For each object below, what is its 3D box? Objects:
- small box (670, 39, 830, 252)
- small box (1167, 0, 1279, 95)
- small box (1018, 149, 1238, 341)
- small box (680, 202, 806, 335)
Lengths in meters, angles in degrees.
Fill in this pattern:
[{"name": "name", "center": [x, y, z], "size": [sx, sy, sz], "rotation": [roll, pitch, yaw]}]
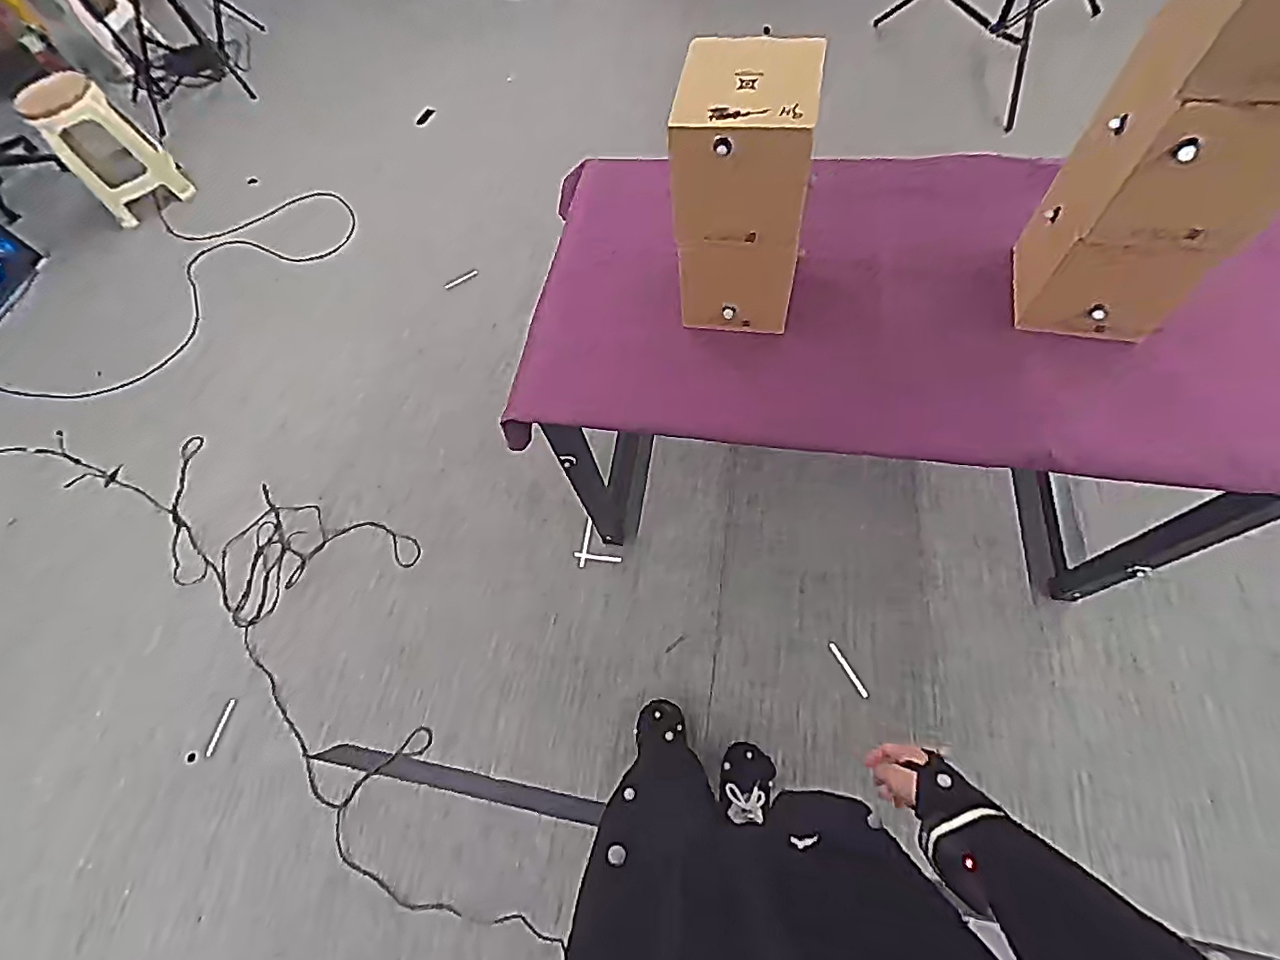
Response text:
[{"name": "small box", "center": [0.138, -0.425, 0.695], "size": [0.168, 0.176, 0.179], "rotation": [8, 65, 12]}, {"name": "small box", "center": [0.613, -0.462, 0.465], "size": [0.168, 0.176, 0.179], "rotation": [13, 66, 13]}, {"name": "small box", "center": [0.659, -0.326, 0.758], "size": [0.168, 0.176, 0.179], "rotation": [11, 66, 14]}, {"name": "small box", "center": [0.159, -0.354, 0.842], "size": [0.168, 0.176, 0.179], "rotation": [7, 66, 11]}]
